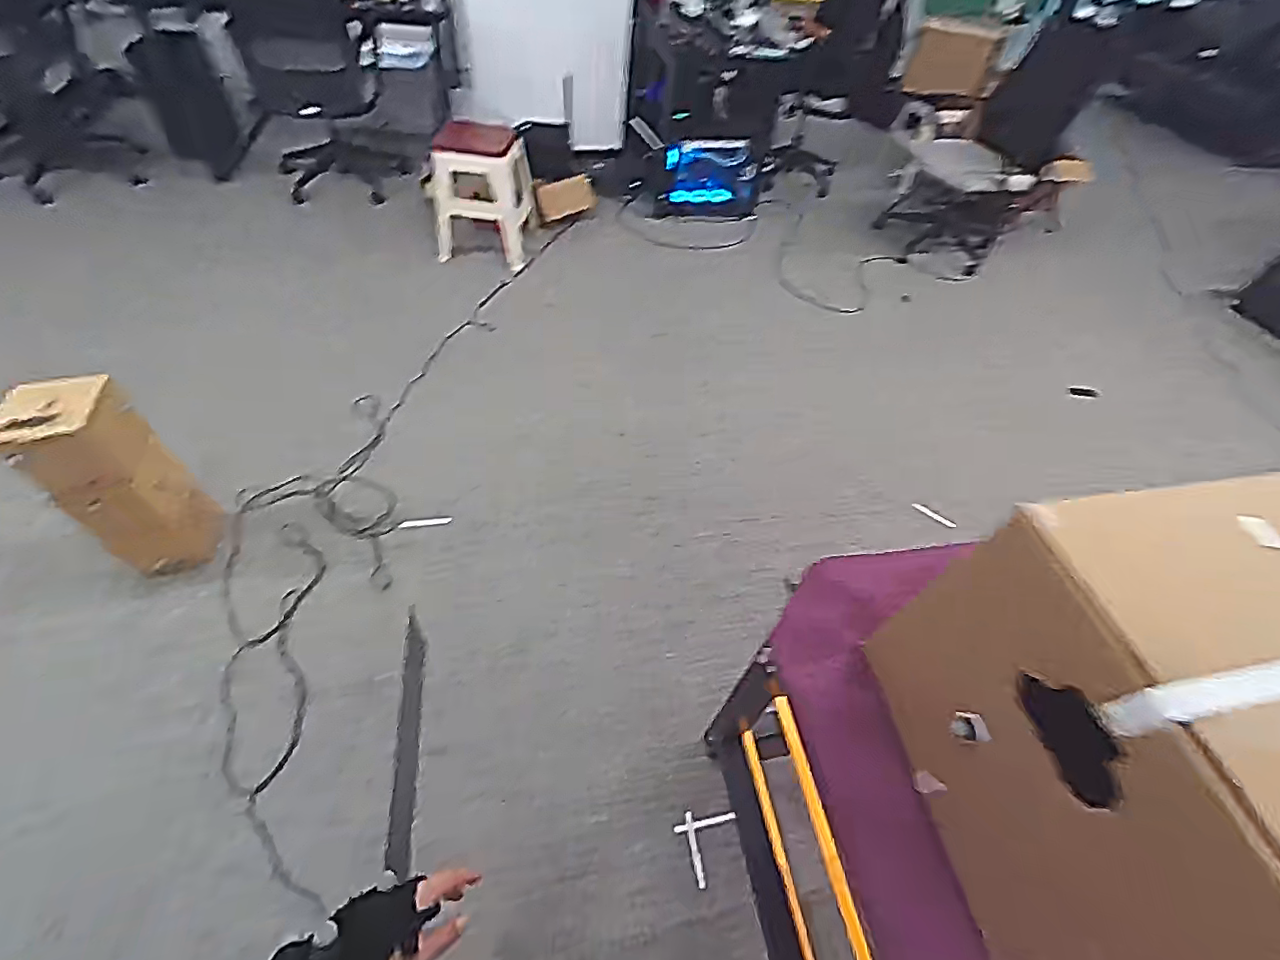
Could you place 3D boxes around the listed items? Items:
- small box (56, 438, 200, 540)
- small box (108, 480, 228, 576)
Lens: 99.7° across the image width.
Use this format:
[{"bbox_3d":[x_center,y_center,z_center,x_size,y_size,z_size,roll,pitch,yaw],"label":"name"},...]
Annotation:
[{"bbox_3d":[-1.214,0.024,1.303,0.179,0.176,0.168,-10,53,-12],"label":"small box"},{"bbox_3d":[-1.230,0.127,1.427,0.168,0.176,0.179,-11,53,-13],"label":"small box"}]
